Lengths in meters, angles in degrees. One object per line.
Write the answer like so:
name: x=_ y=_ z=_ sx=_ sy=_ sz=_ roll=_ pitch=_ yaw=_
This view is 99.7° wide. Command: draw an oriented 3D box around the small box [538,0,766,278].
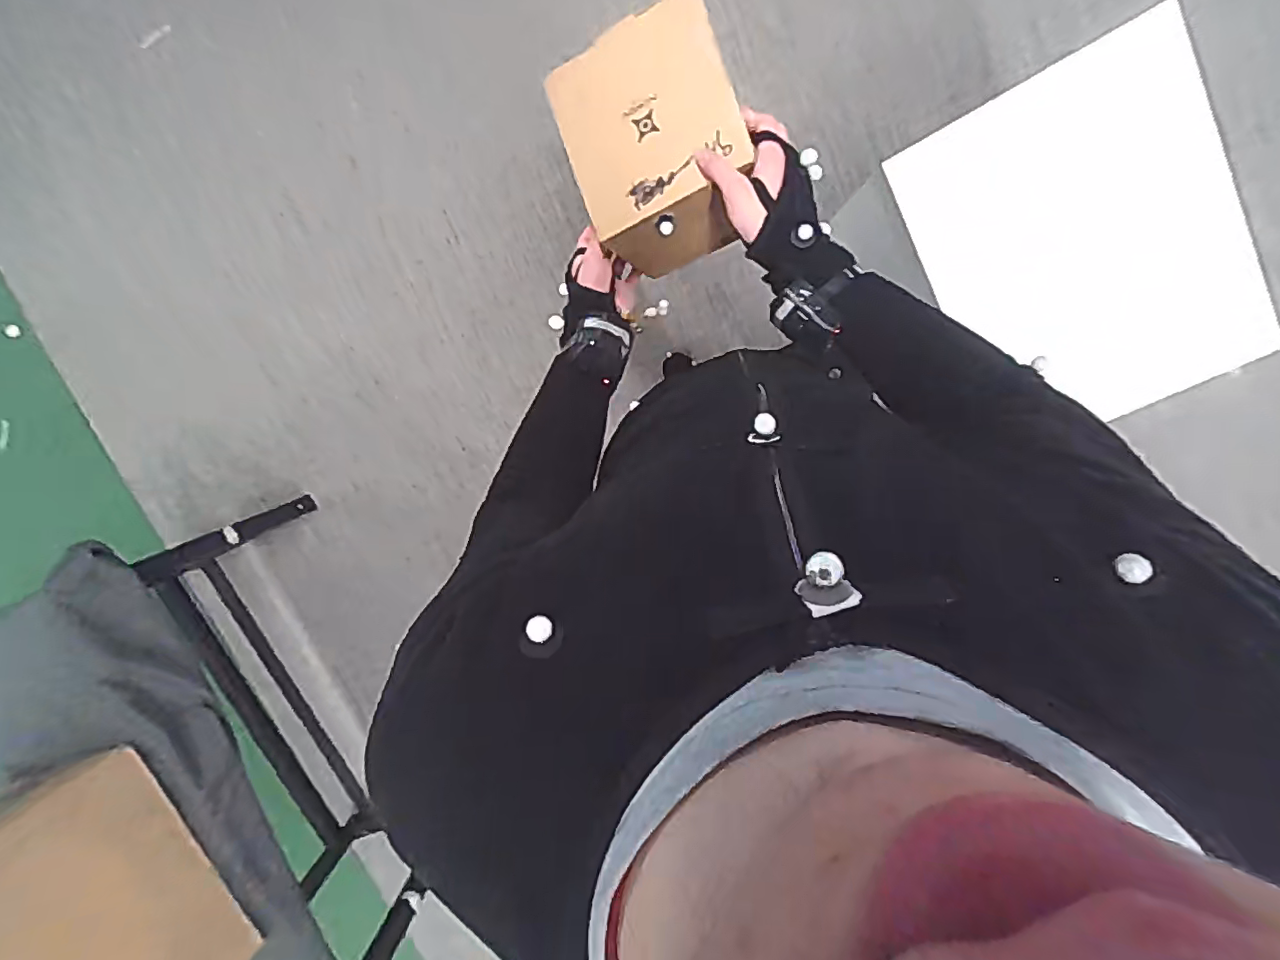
small box: x=0.024 y=-0.348 z=0.583 sx=0.168 sy=0.176 sz=0.179 roll=-22 pitch=89 yaw=21
